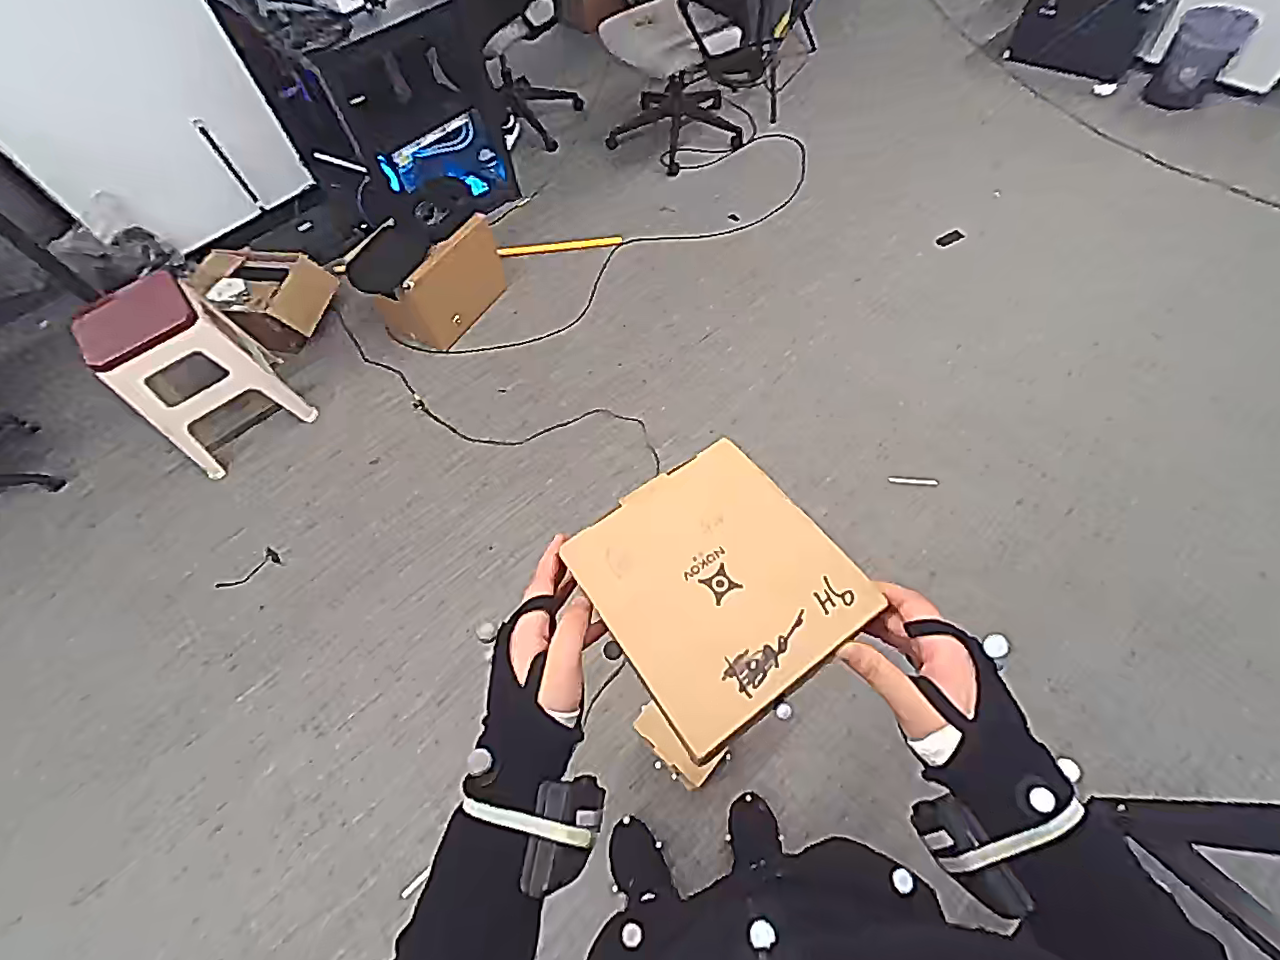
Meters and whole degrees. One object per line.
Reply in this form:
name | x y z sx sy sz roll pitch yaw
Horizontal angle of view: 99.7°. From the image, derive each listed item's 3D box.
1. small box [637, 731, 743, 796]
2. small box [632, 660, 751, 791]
small box | 0.112 0.590 1.243 0.168 0.176 0.179 39 71 23
small box | 0.105 0.505 1.106 0.168 0.176 0.179 36 68 21
